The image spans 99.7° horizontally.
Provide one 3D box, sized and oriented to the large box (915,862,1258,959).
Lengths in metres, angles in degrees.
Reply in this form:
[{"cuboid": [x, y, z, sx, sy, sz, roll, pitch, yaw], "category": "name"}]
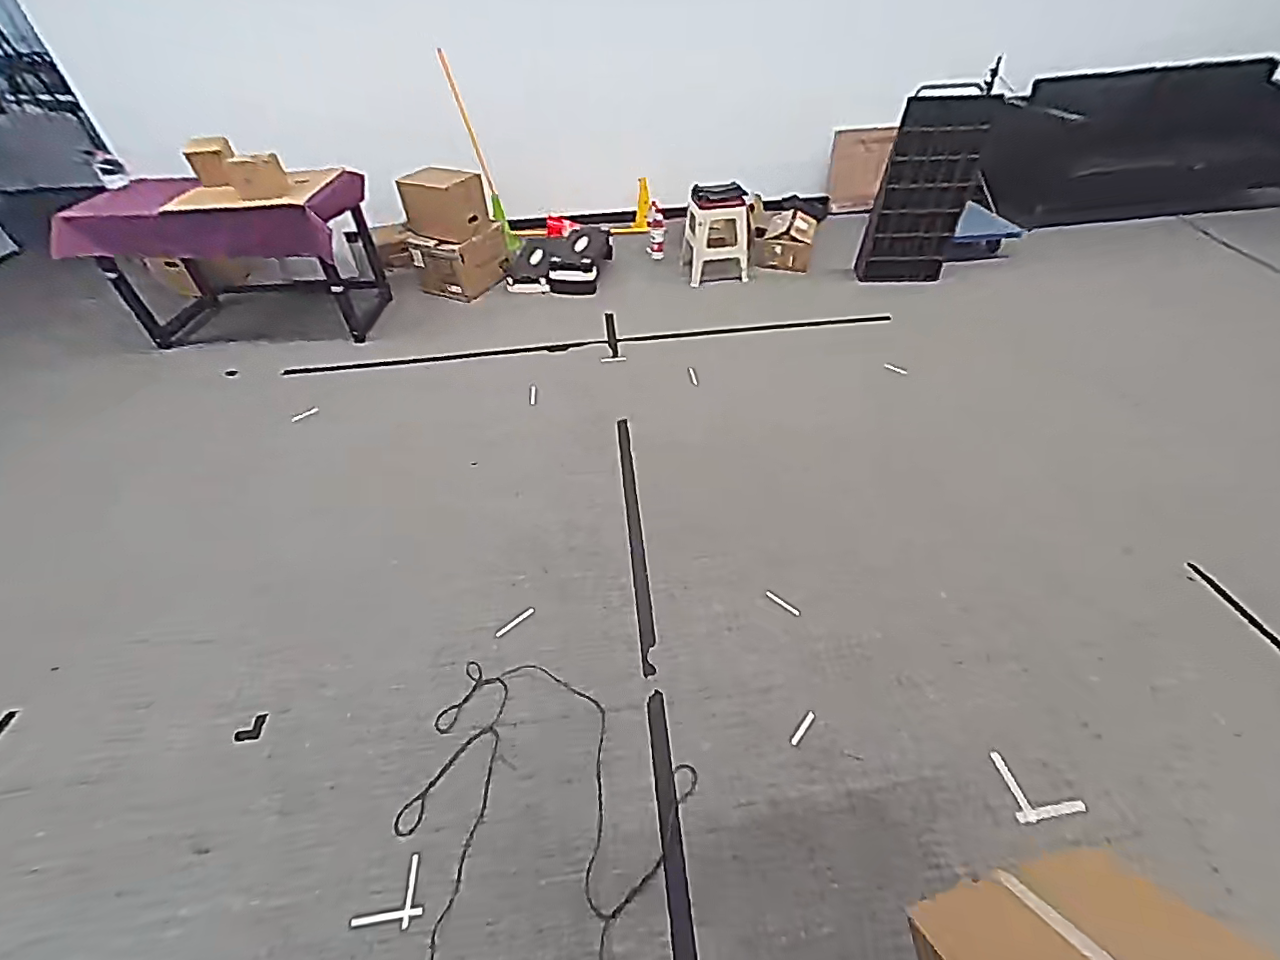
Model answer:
[{"cuboid": [0.586, 0.720, 0.581, 0.320, 0.408, 0.320, -13, 85, -5], "category": "large box"}]
